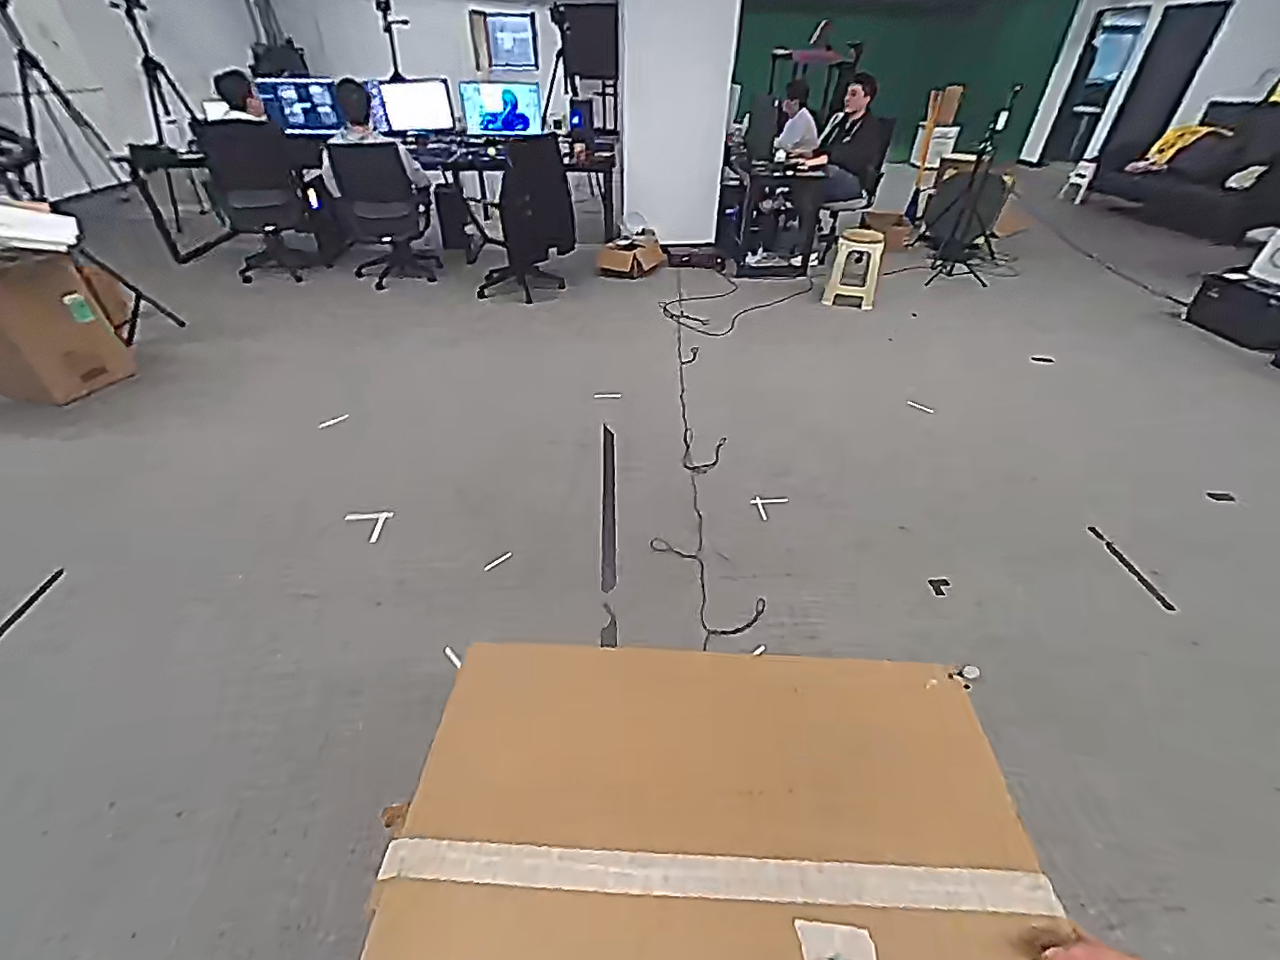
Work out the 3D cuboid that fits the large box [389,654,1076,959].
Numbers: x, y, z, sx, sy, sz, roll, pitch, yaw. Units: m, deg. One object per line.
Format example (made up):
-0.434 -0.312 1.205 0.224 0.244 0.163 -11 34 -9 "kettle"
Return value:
0.053 0.365 0.437 0.408 0.320 0.320 2 41 2 "large box"
